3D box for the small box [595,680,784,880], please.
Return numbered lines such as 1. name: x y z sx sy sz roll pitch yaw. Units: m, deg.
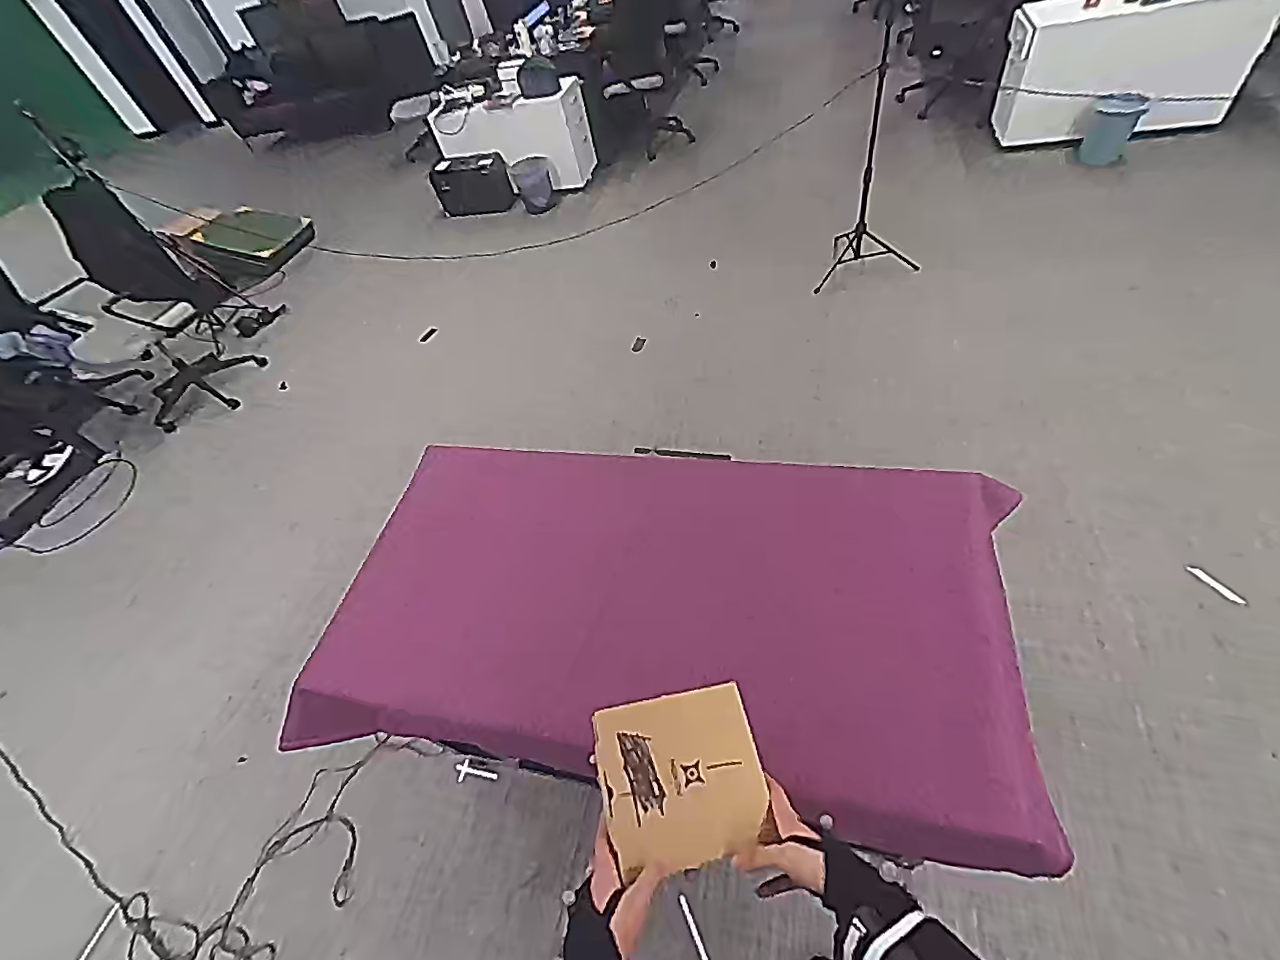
1. small box: 0.047 0.361 0.653 0.179 0.176 0.168 -9 58 -8
